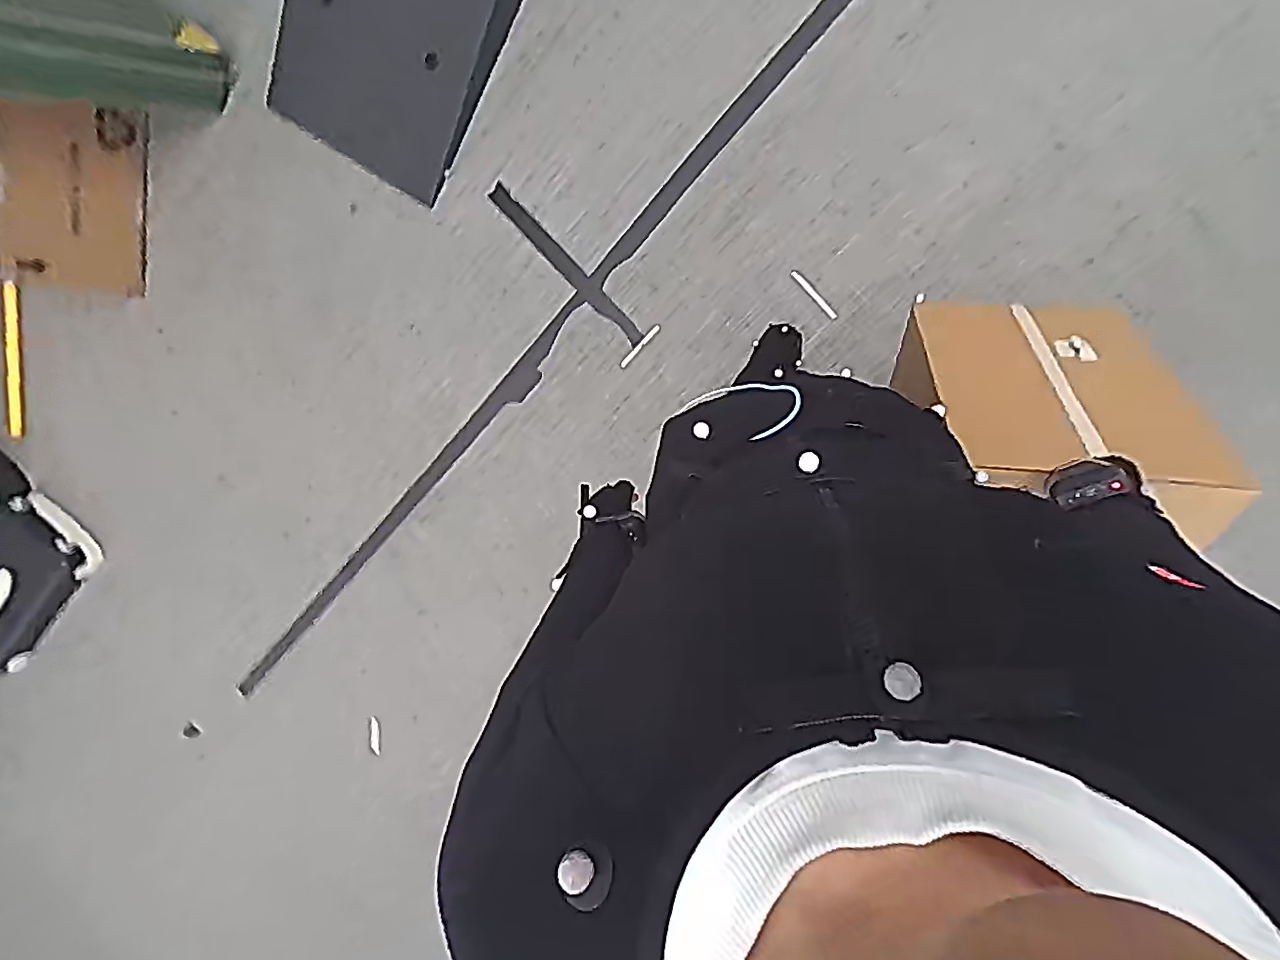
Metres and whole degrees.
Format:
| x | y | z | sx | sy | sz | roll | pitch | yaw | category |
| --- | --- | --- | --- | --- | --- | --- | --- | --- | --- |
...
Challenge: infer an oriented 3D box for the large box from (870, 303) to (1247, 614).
| x | y | z | sx | sy | sz | roll | pitch | yaw | category |
| --- | --- | --- | --- | --- | --- | --- | --- | --- | --- |
| 0.587 | -0.043 | 0.878 | 0.320 | 0.408 | 0.320 | 6 | 137 | 9 | large box |
